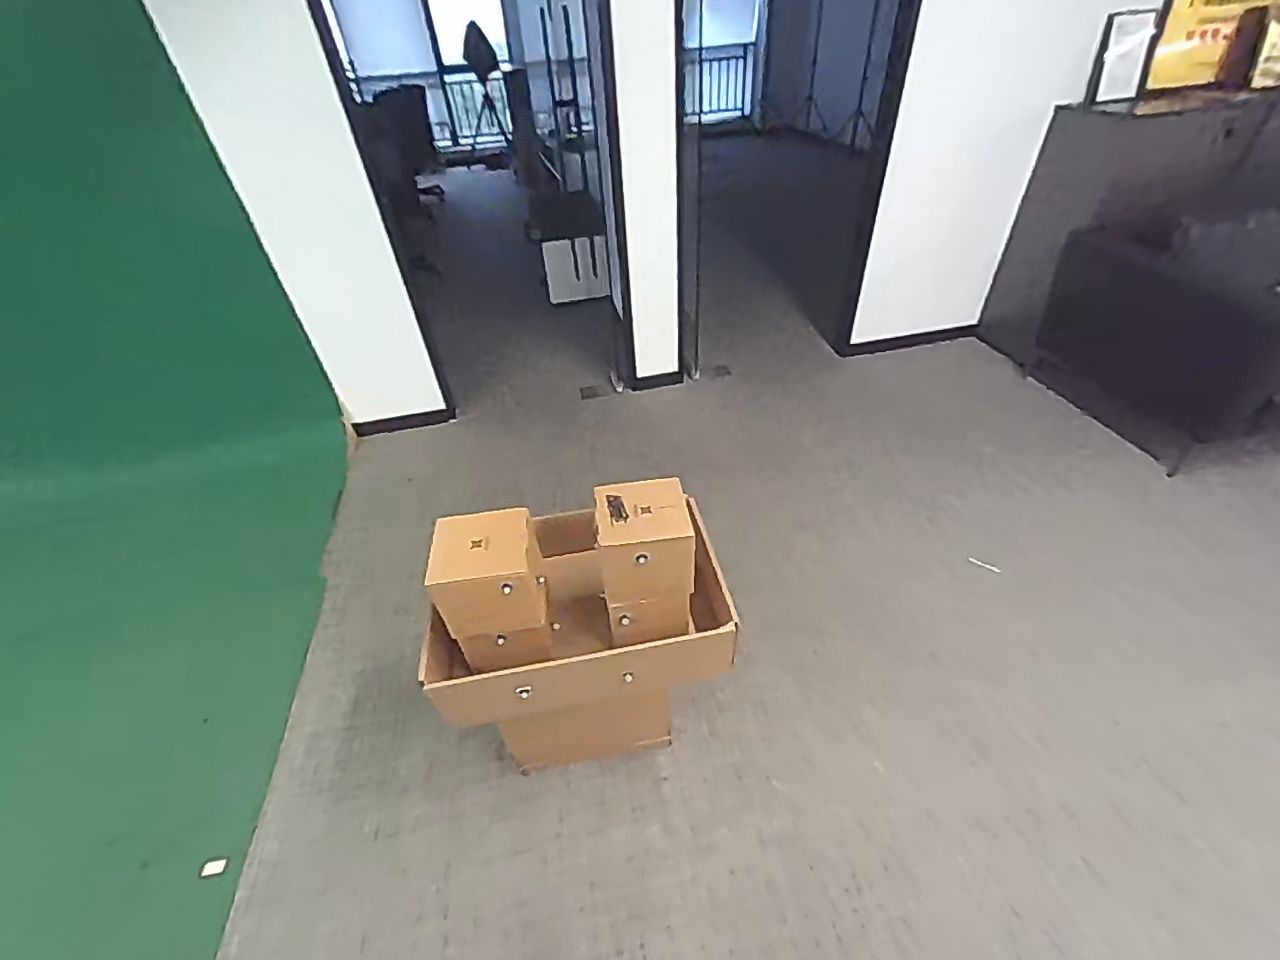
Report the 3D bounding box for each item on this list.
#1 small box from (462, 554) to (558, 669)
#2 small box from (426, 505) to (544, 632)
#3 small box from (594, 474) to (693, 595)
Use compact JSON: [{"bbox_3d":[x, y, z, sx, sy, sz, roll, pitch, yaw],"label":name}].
[{"bbox_3d":[-0.278,0.284,1.159,0.179,0.176,0.168,-8,42,-5],"label":"small box"},{"bbox_3d":[-0.287,0.173,1.040,0.179,0.176,0.168,-7,42,-5],"label":"small box"},{"bbox_3d":[0.007,0.112,1.075,0.179,0.176,0.168,-7,41,-4],"label":"small box"}]
